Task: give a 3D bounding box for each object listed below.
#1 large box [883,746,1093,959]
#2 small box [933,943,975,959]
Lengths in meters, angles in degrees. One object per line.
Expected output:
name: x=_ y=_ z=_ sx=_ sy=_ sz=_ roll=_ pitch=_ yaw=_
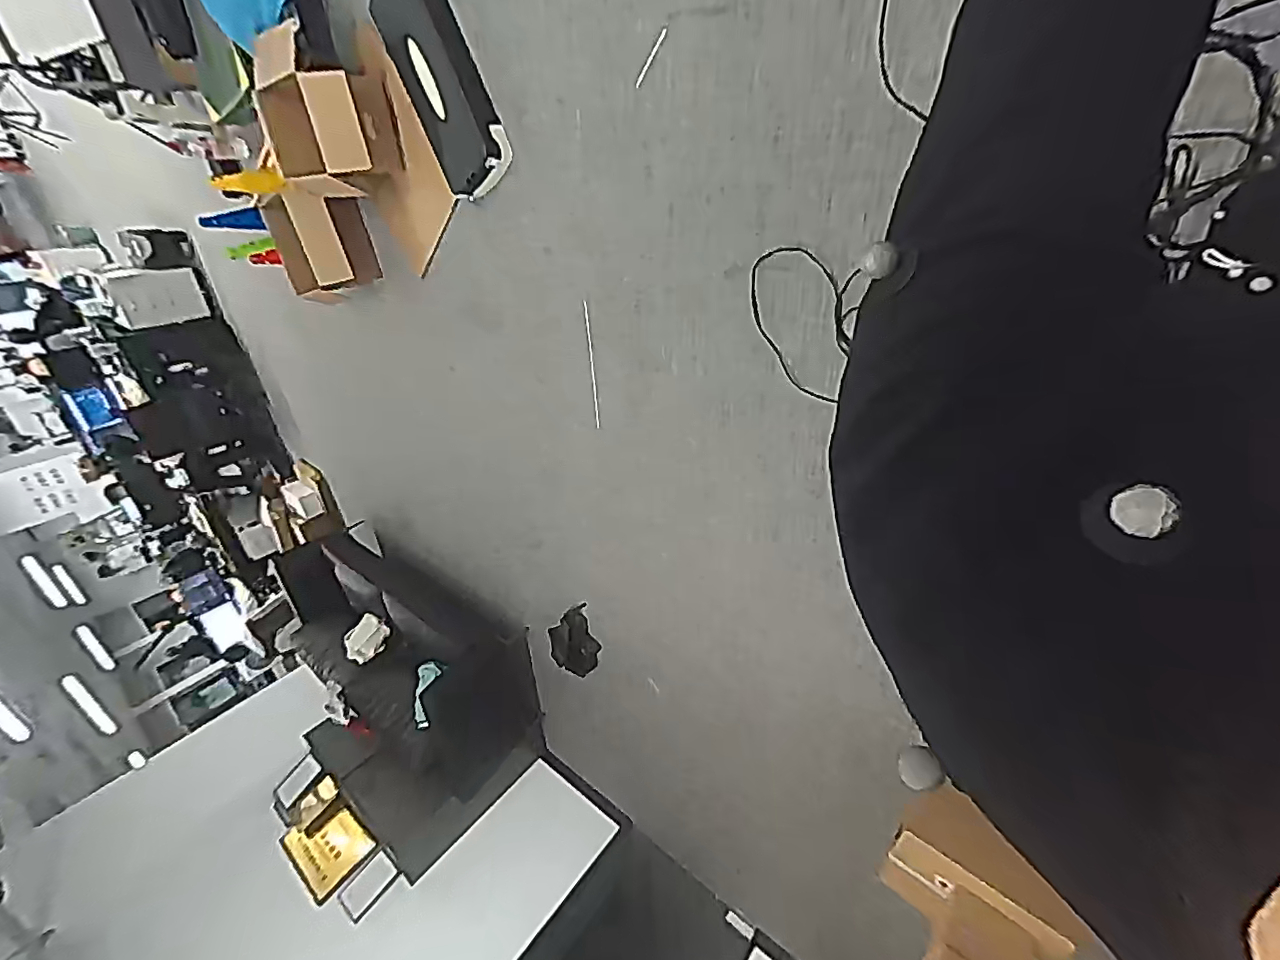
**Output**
large box: x=0.997 y=1.083 z=1.570 sx=0.408 sy=0.320 sz=0.320 roll=26 pitch=130 yaw=33
small box: x=0.769 y=1.258 z=1.277 sx=0.168 sy=0.176 sz=0.179 roll=26 pitch=132 yaw=34
